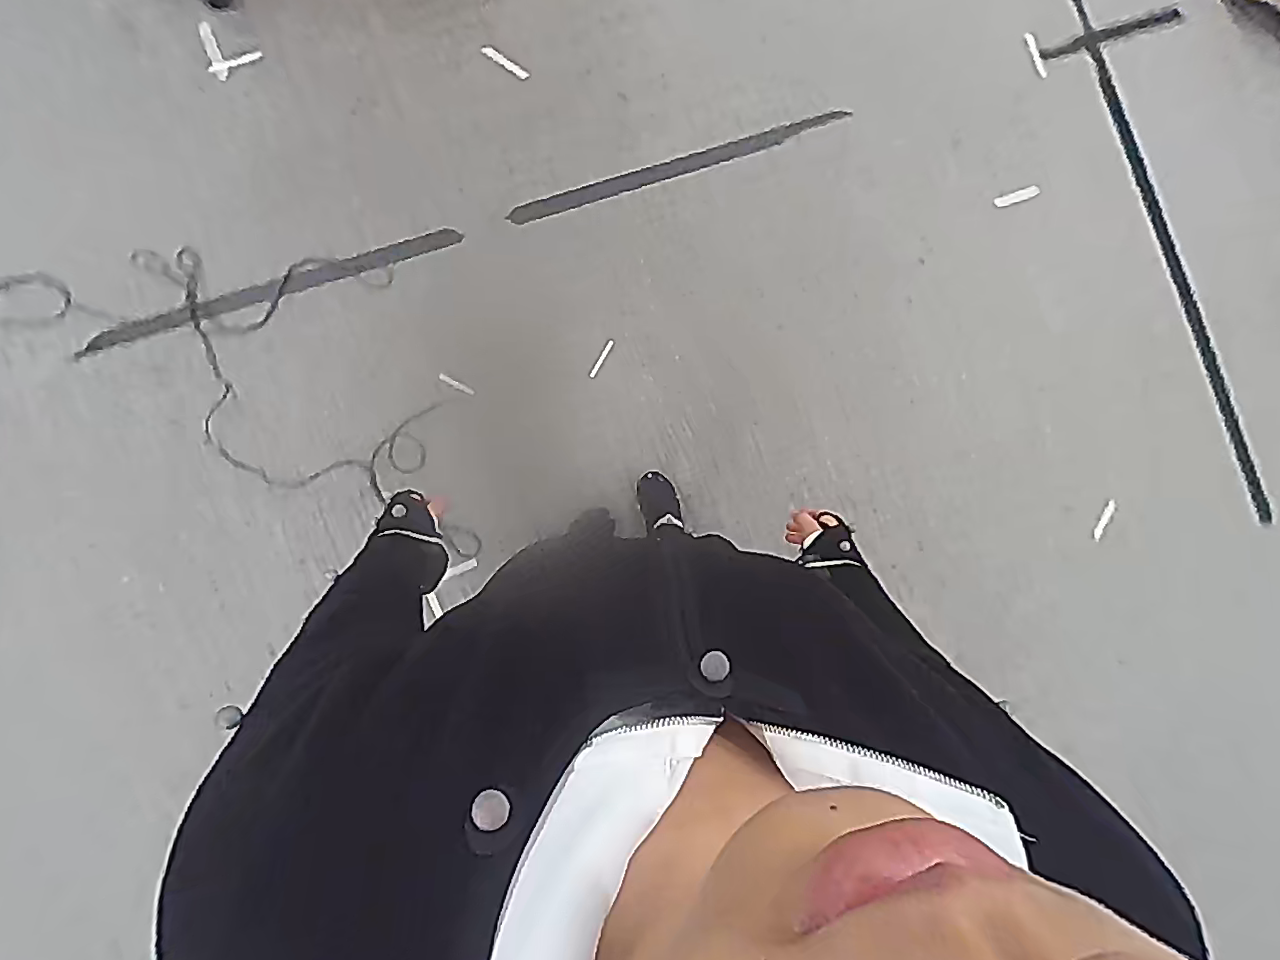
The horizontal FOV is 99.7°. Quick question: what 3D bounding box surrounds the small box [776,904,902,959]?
[{"bbox_3d":[0.324,0.780,0.780,0.168,0.176,0.179,-22,88,-8],"label":"small box"}]
